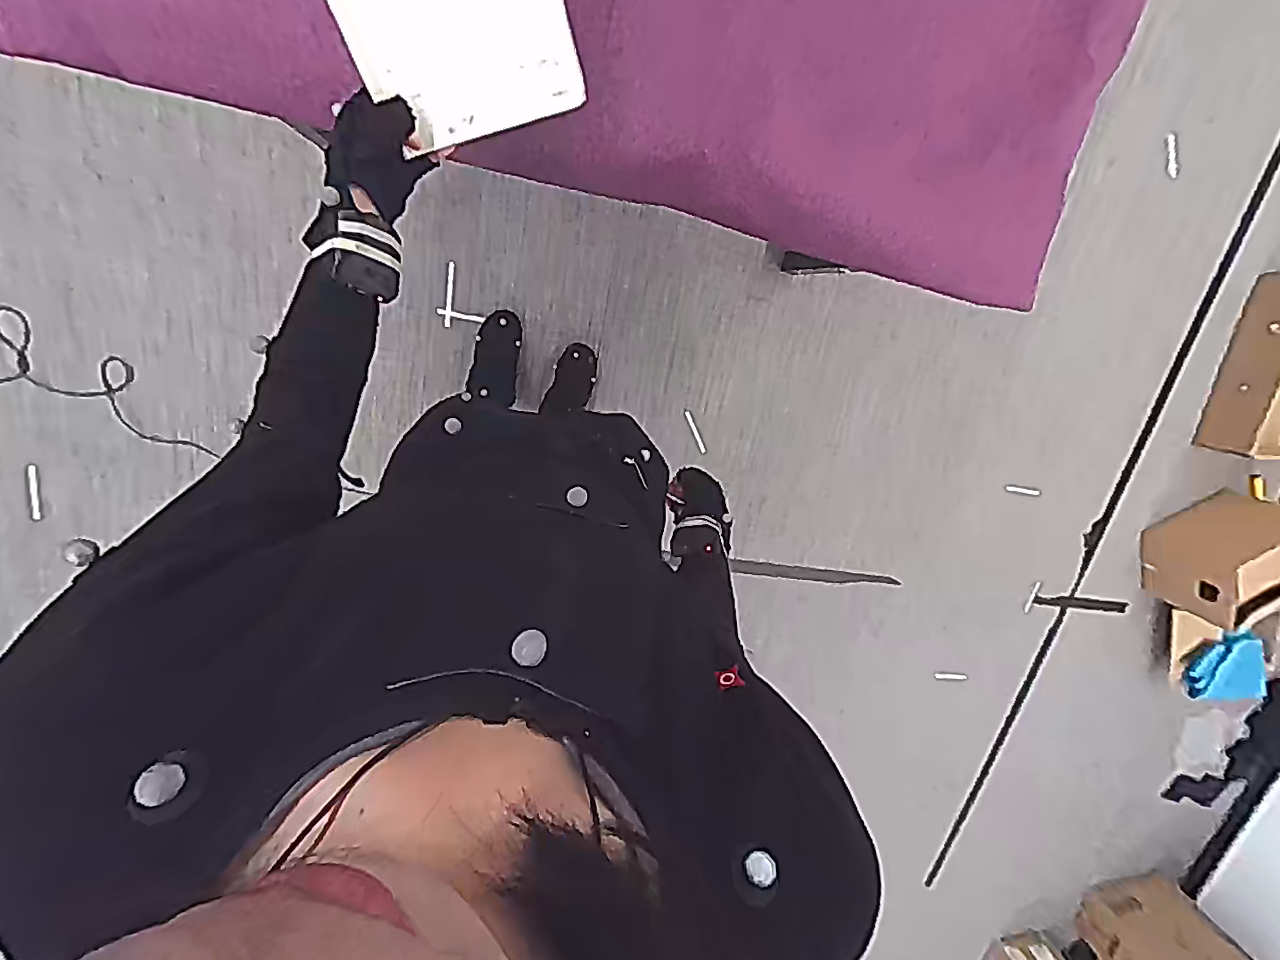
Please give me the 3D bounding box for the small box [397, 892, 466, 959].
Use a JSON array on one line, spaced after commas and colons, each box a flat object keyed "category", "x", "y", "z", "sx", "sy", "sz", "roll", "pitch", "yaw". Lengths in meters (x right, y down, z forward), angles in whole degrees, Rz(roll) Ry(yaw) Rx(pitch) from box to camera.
[{"category": "small box", "x": -0.717, "y": 1.591, "z": 1.886, "sx": 0.179, "sy": 0.176, "sz": 0.168, "roll": -16, "pitch": 111, "yaw": -6}]
